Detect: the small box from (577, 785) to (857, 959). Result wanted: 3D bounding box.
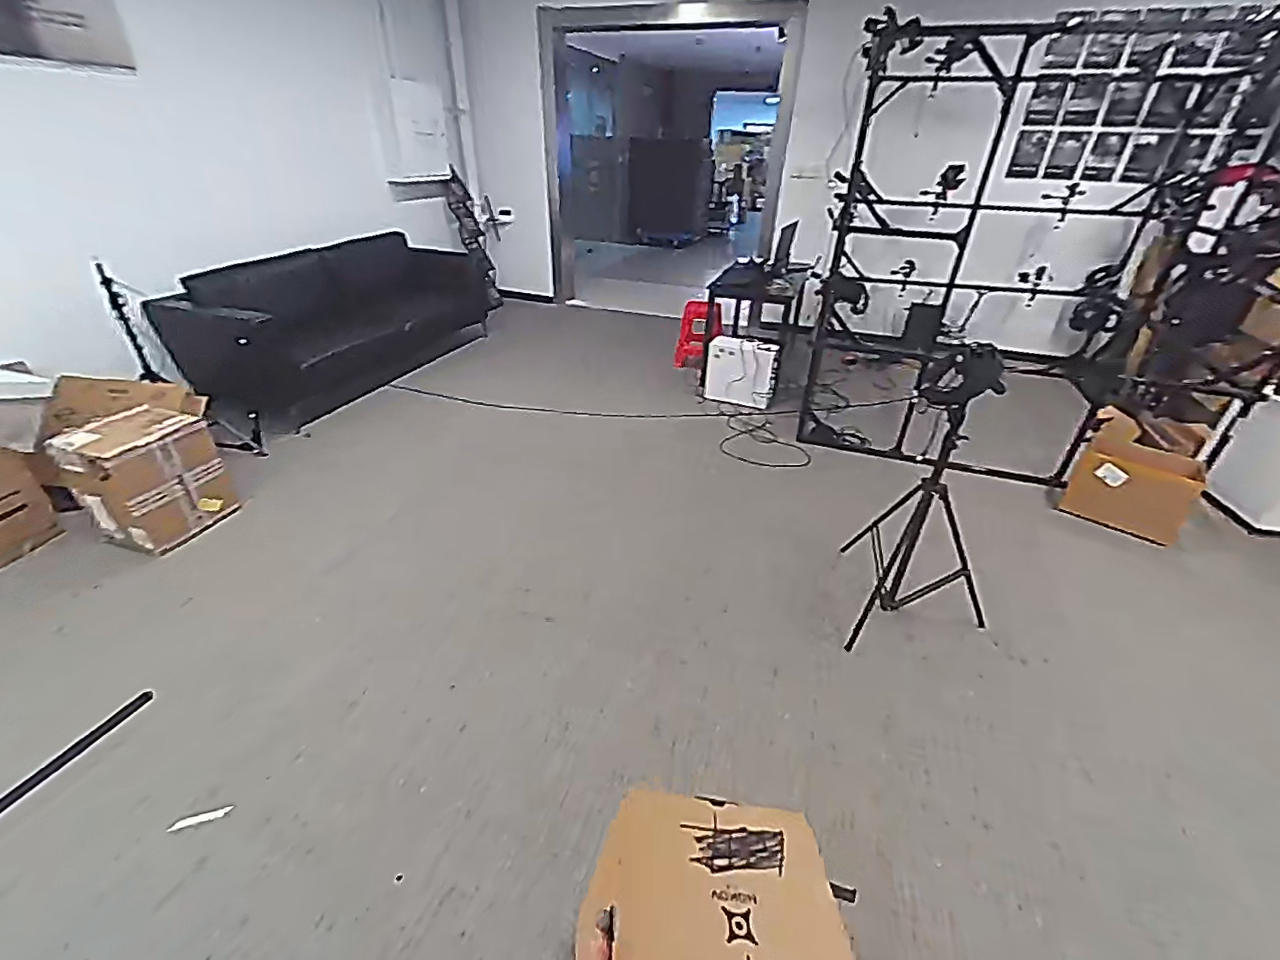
[{"bbox_3d":[0.047,0.376,0.408,0.168,0.176,0.179,13,20,-9],"label":"small box"}]
